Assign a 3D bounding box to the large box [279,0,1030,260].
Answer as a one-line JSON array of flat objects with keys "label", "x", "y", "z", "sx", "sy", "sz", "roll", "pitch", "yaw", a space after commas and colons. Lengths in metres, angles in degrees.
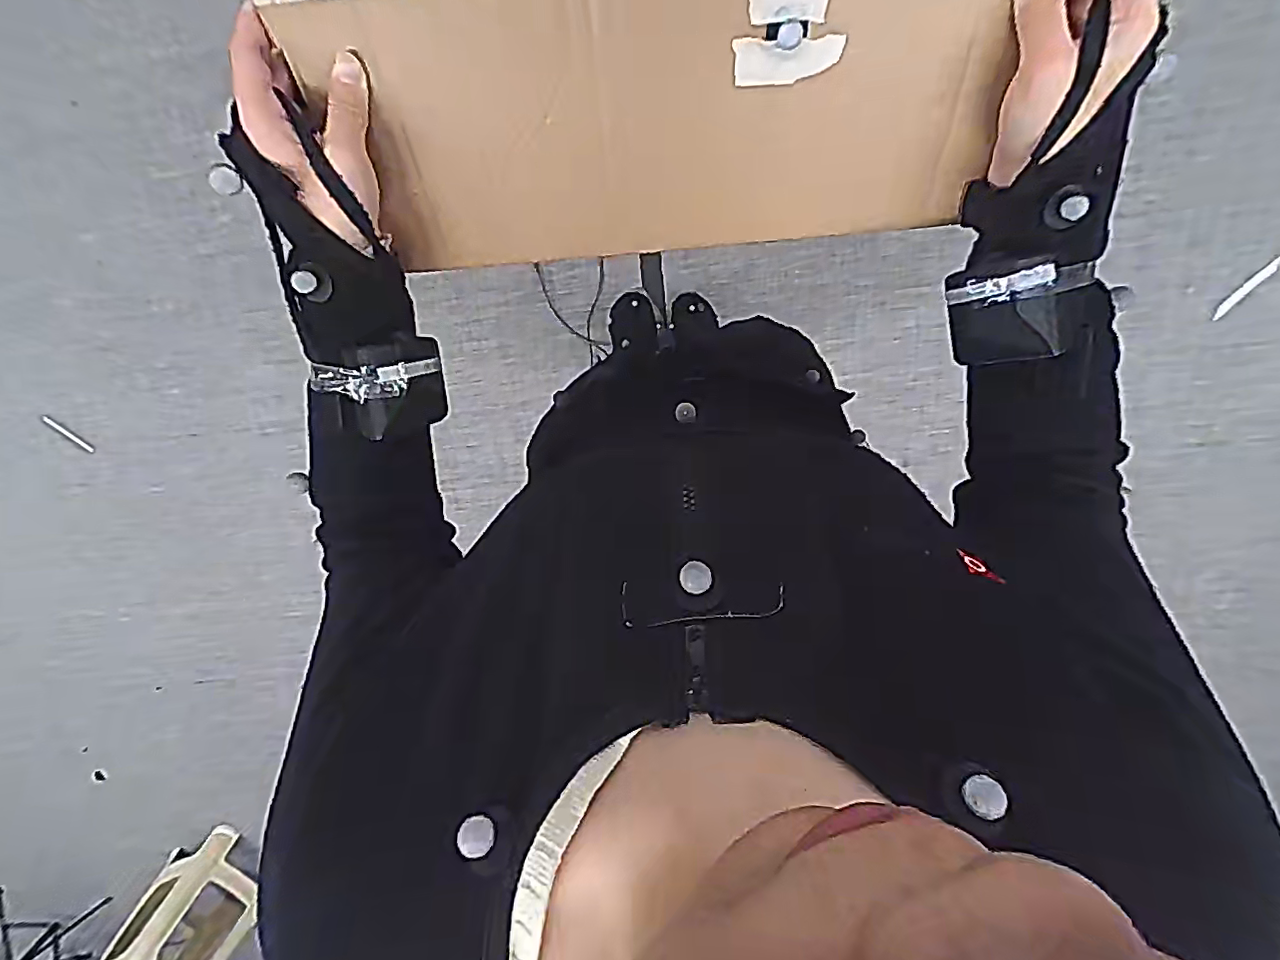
[{"label": "large box", "x": 0.002, "y": -0.383, "z": 0.367, "sx": 0.408, "sy": 0.320, "sz": 0.320, "roll": -4, "pitch": 137, "yaw": 3}]
